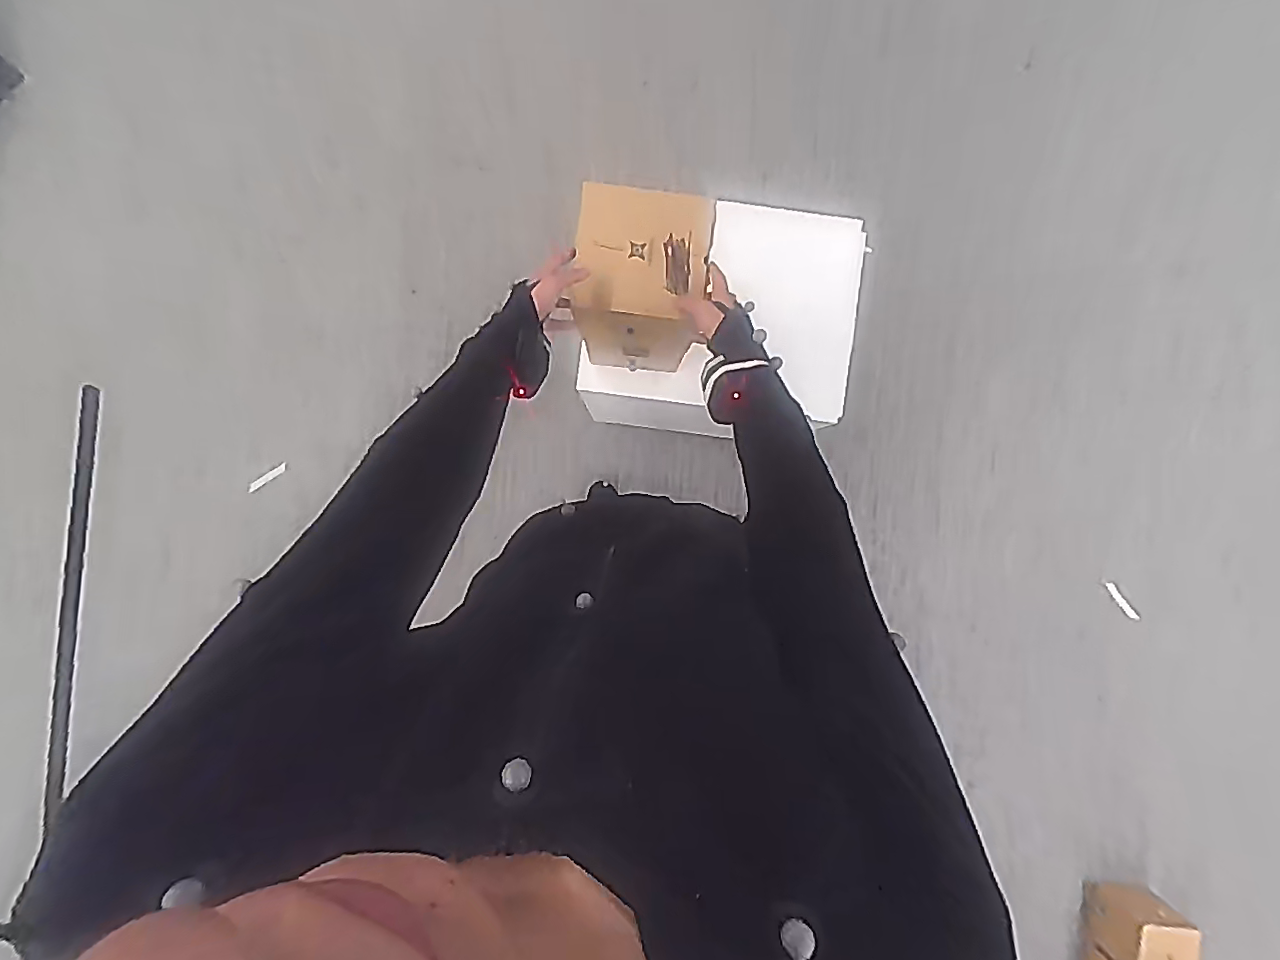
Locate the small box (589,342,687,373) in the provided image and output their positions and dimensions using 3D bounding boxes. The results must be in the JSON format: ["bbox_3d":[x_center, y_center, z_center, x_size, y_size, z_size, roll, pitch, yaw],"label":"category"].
[{"bbox_3d":[0.000,-0.295,0.938,0.168,0.176,0.179,6,91,-1],"label":"small box"}]

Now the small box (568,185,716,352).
[{"bbox_3d":[0.001,-0.288,0.773,0.179,0.176,0.168,7,90,-1],"label":"small box"}]
